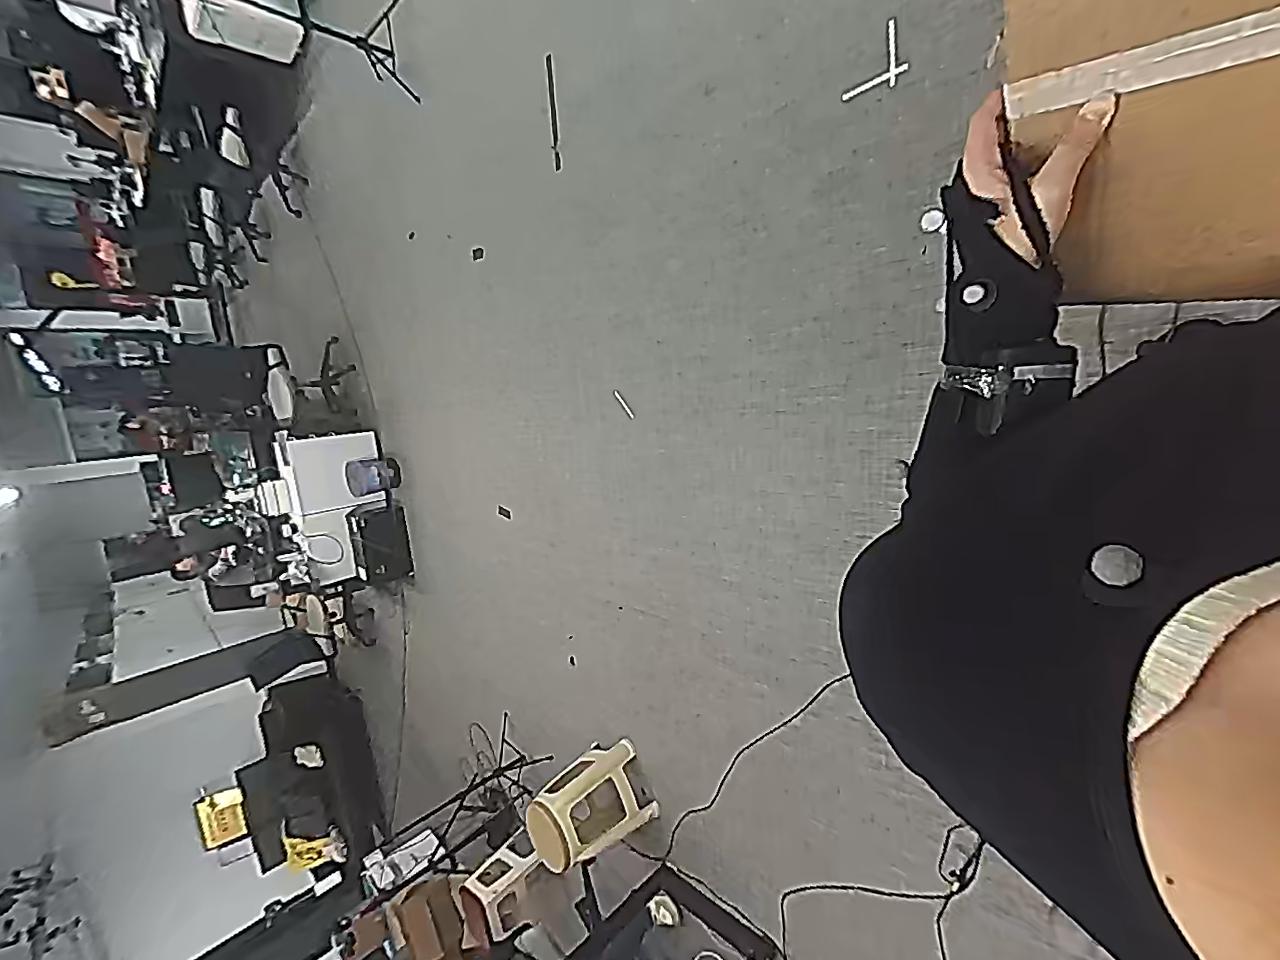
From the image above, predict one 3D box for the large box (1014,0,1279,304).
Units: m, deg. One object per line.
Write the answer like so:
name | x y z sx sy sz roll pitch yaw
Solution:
large box | 0.460 -0.320 0.262 0.408 0.320 0.320 14 149 45
